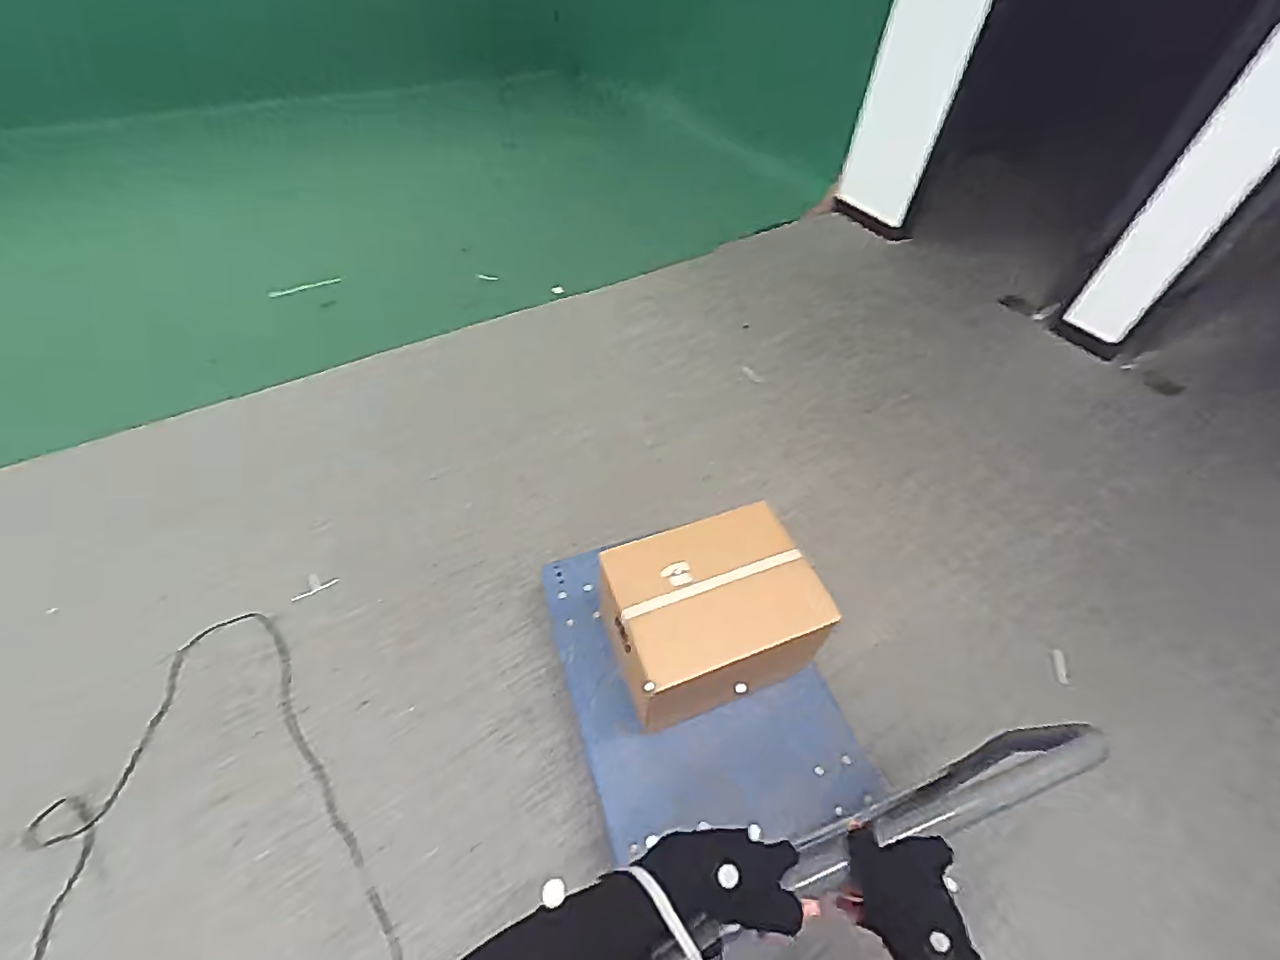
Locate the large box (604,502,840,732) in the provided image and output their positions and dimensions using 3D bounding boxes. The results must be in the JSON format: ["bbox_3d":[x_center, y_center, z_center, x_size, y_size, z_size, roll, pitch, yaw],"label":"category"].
[{"bbox_3d":[0.161,0.309,1.224,0.408,0.320,0.320,-17,53,-14],"label":"large box"}]
